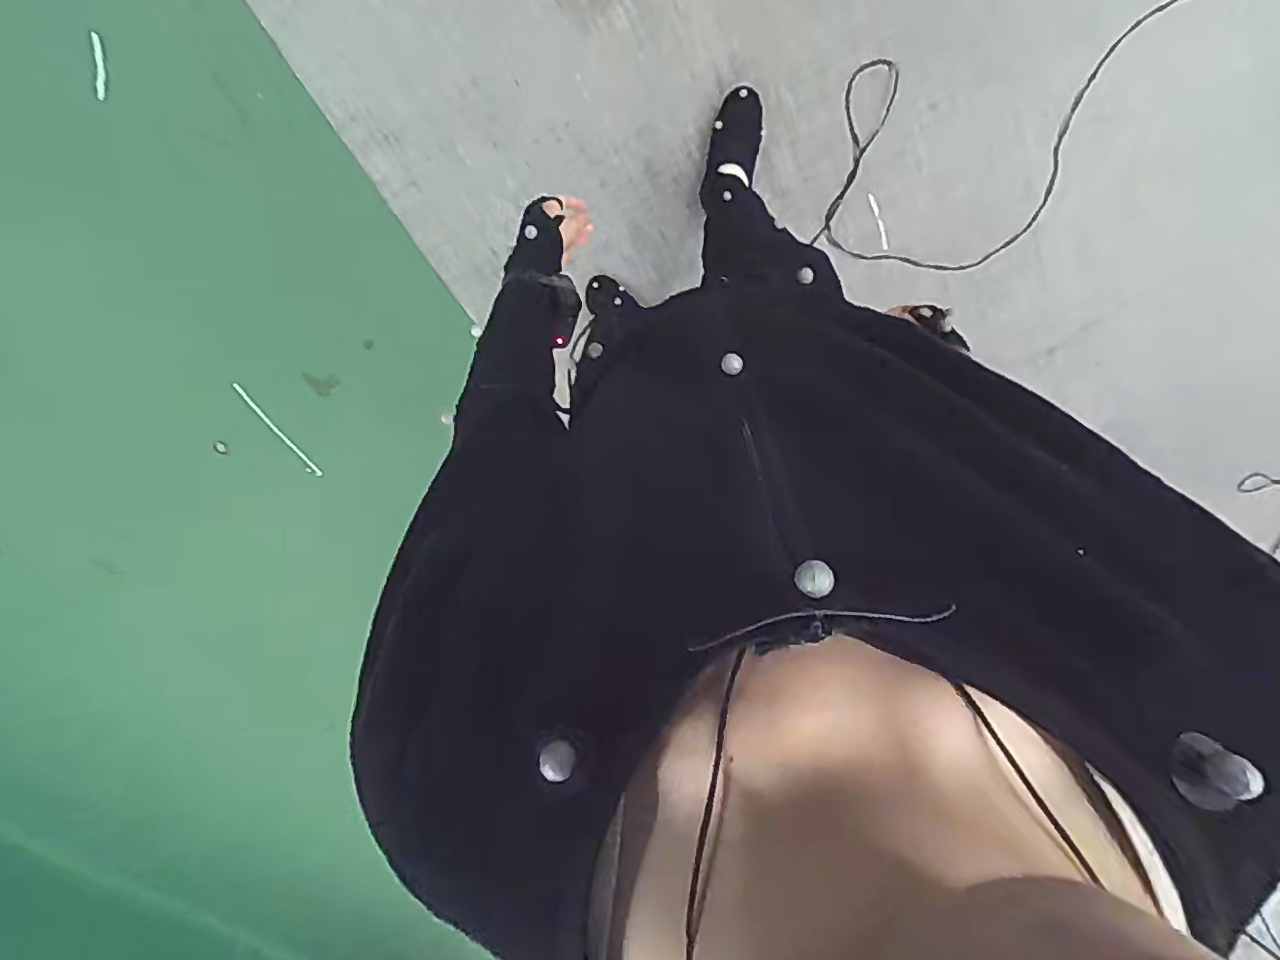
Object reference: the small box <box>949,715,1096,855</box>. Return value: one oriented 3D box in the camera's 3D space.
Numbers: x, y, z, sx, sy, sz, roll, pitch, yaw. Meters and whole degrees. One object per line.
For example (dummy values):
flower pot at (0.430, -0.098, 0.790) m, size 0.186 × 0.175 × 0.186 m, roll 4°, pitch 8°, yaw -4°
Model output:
small box at (0.759, 0.605, 1.084) m, size 0.179 × 0.176 × 0.168 m, roll -24°, pitch 119°, yaw 11°
